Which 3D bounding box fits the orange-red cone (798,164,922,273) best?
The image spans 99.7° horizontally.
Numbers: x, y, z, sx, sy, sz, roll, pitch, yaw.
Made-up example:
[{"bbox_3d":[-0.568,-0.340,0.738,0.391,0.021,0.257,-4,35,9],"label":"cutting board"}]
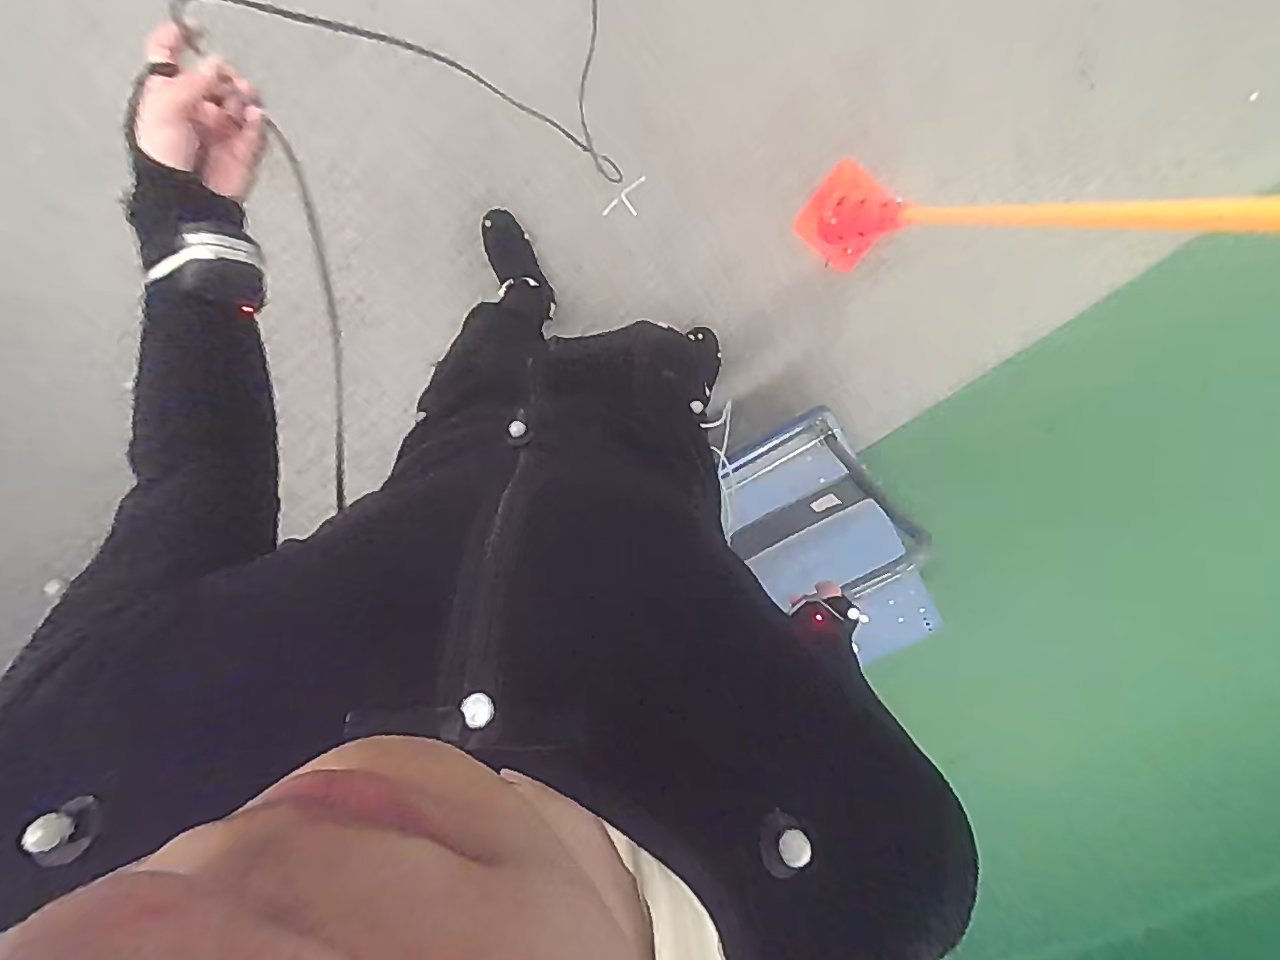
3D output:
[{"bbox_3d":[0.531,-0.588,1.215,0.198,0.360,0.199,35,109,-16],"label":"orange-red cone"}]
